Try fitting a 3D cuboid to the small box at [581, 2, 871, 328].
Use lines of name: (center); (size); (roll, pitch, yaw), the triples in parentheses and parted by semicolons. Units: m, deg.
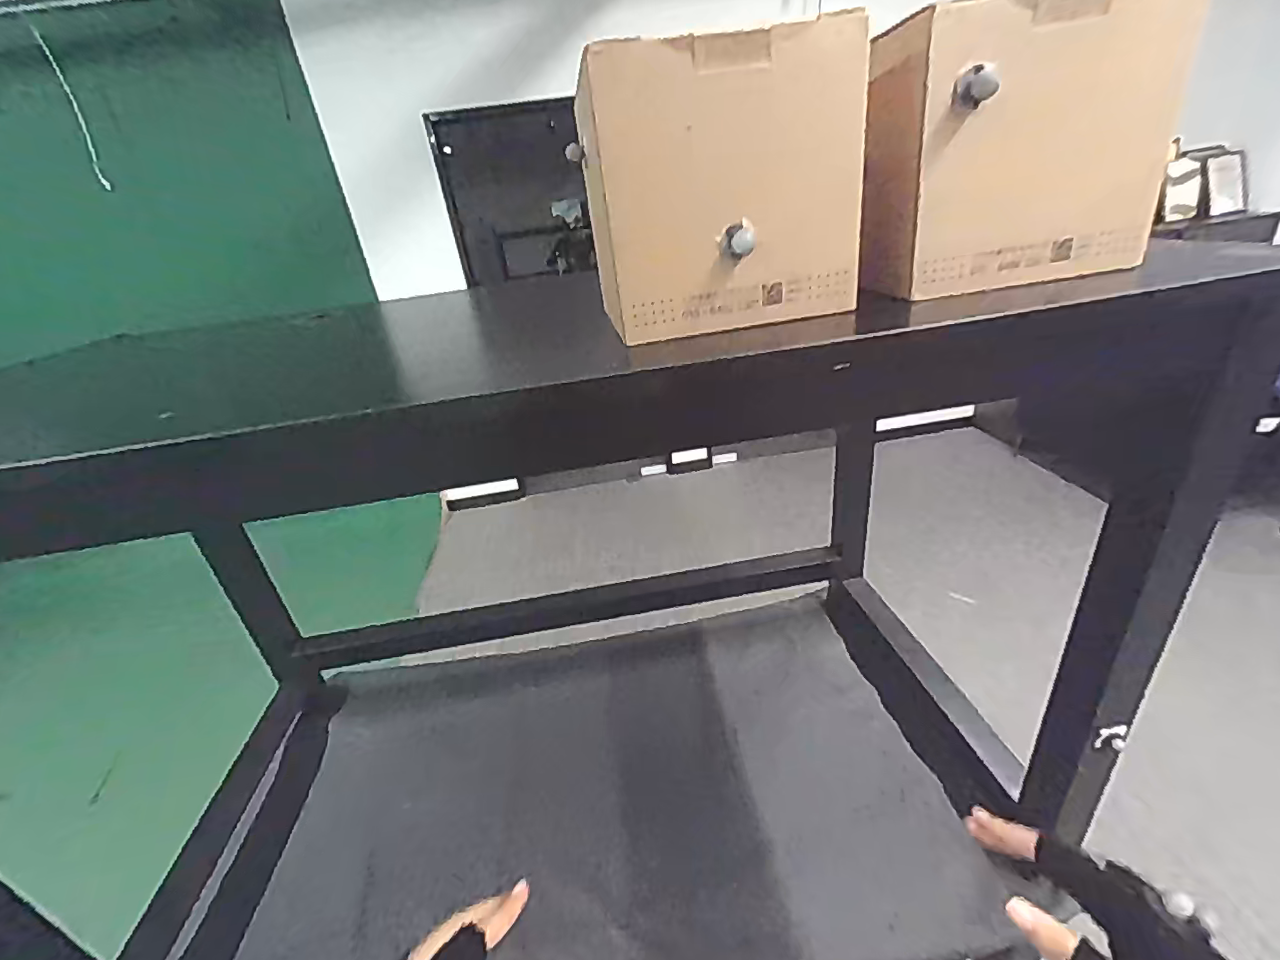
small box: (0.050, -0.218, 0.410); (0.168, 0.176, 0.179); (-10, 27, -4)
